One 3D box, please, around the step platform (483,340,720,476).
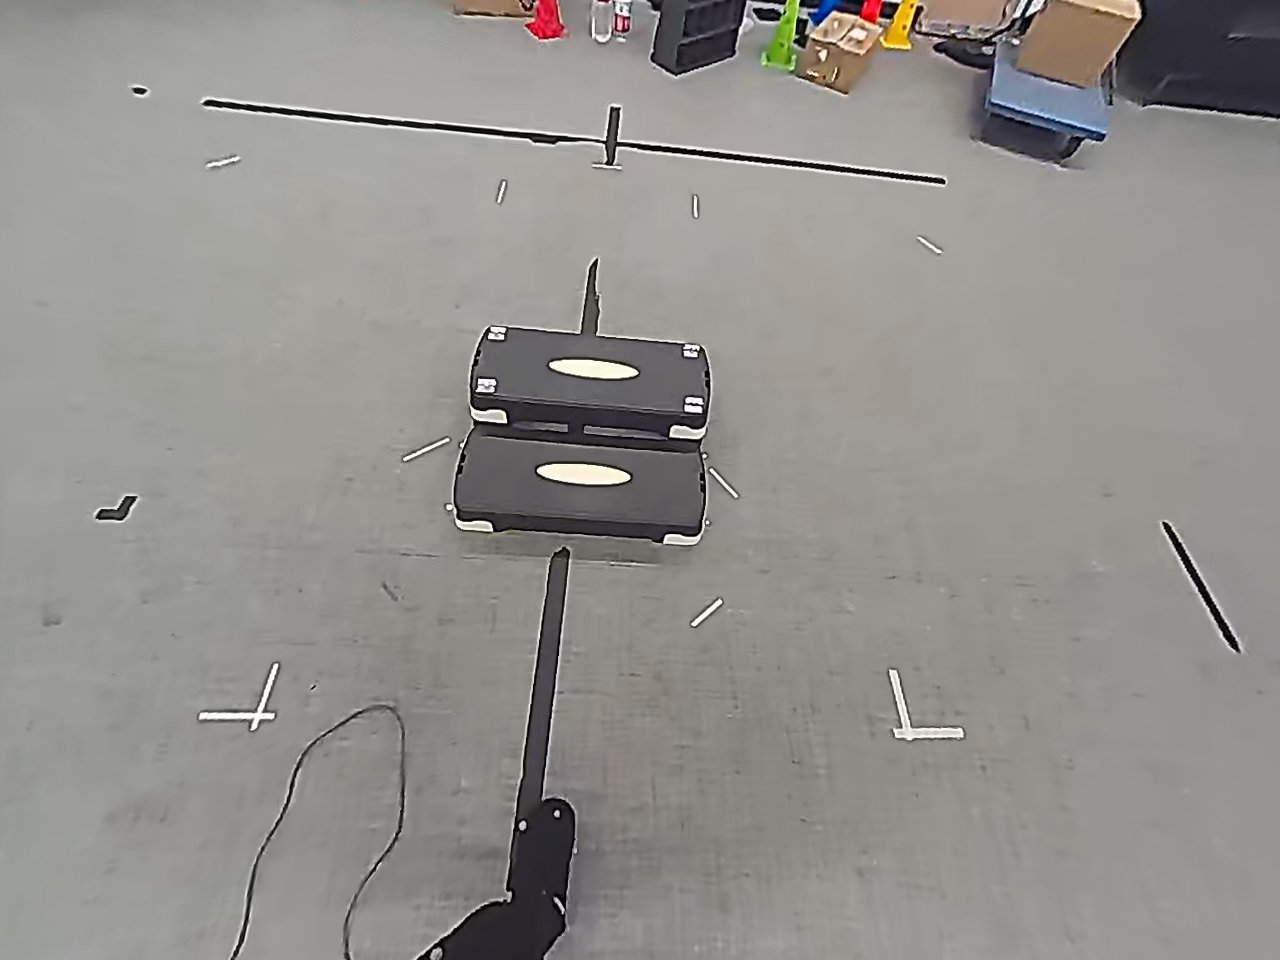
[{"bbox_3d":[-0.108,-0.214,1.605,0.684,0.204,0.286,8,57,-2],"label":"step platform"}]
